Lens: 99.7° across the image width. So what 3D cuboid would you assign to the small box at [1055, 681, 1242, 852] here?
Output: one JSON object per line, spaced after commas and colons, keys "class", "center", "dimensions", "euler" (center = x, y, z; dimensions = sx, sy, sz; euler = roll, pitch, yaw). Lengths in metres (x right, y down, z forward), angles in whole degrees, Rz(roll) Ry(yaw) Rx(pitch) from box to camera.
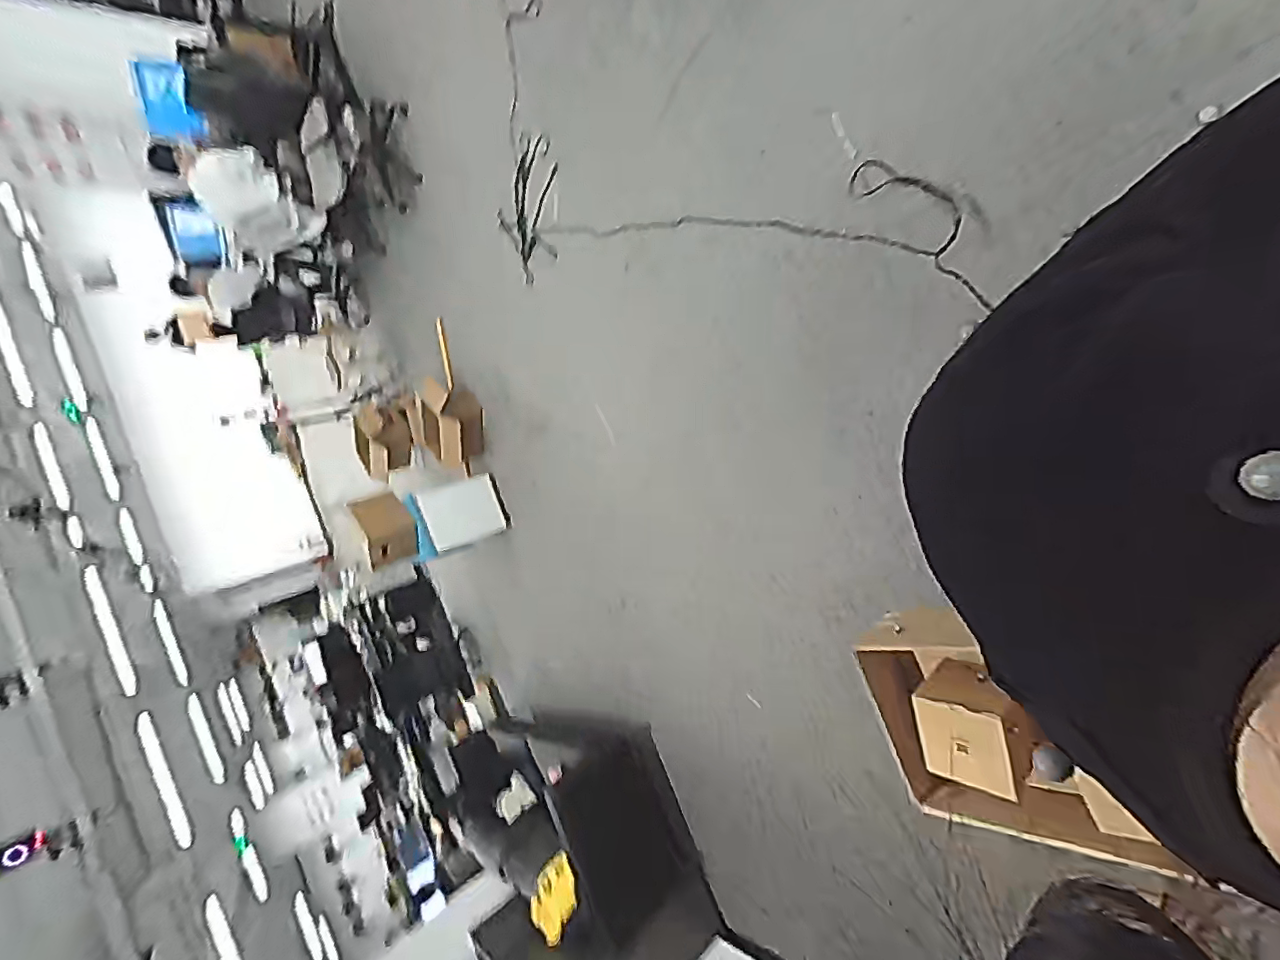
{"class": "small box", "center": [0.839, 0.456, 0.892], "dimensions": [0.168, 0.176, 0.179], "euler": [-29, 83, 53]}
